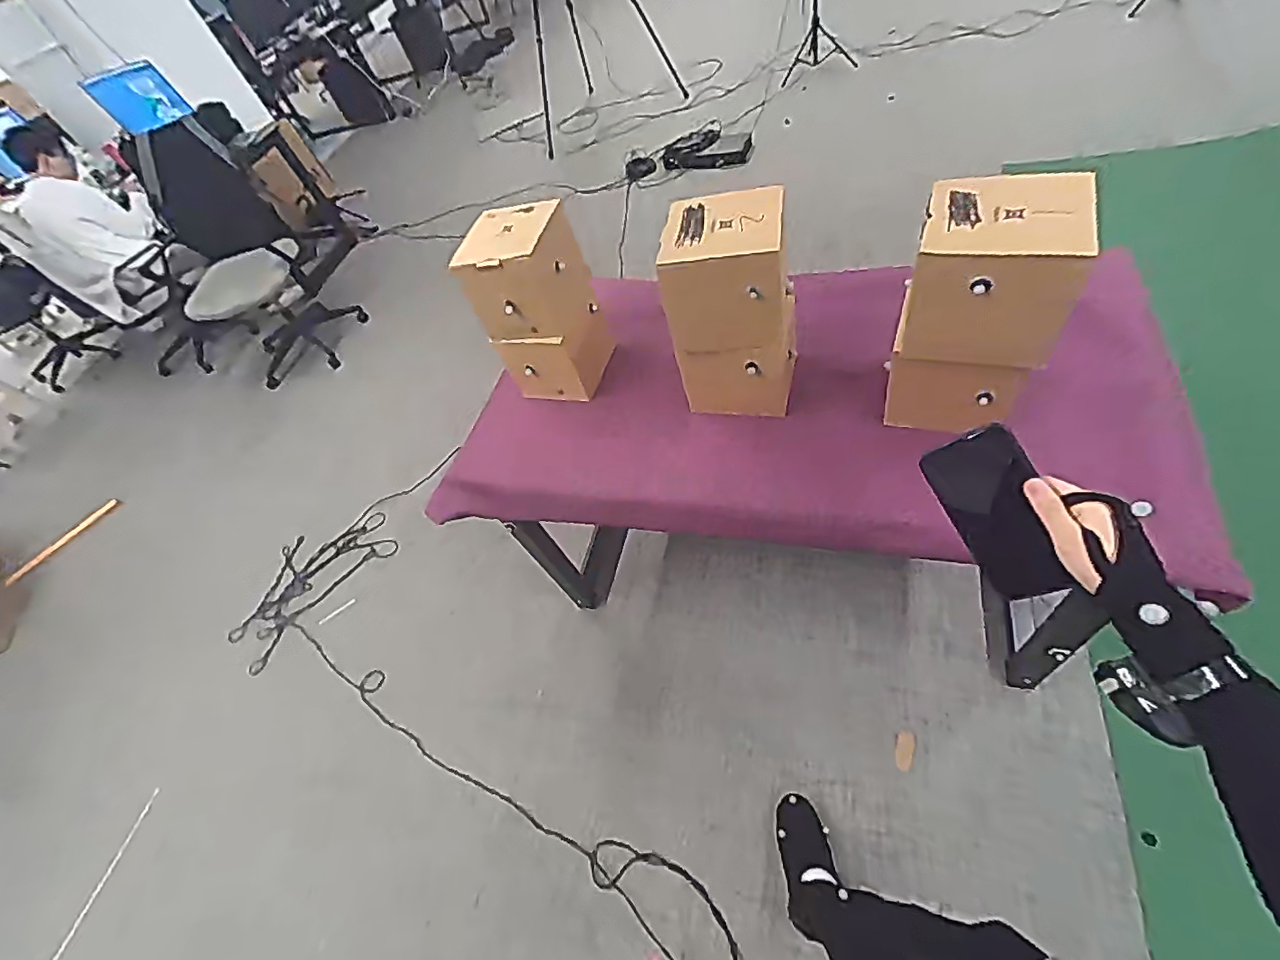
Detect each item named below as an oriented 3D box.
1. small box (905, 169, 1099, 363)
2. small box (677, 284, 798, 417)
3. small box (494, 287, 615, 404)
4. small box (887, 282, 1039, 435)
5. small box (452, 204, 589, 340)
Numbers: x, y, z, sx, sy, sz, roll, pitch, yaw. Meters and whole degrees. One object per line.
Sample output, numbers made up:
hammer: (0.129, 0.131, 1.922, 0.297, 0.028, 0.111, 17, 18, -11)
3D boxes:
small box: (0.454, -0.270, 0.700, 0.179, 0.176, 0.168, 11, 59, 25)
small box: (0.185, -0.229, 0.973, 0.179, 0.176, 0.168, 5, 57, 22)
small box: (-0.168, -0.276, 1.134, 0.168, 0.176, 0.179, 6, 57, 23)
small box: (0.495, -0.189, 0.837, 0.179, 0.176, 0.168, 10, 59, 27)
small box: (-0.211, -0.378, 1.011, 0.168, 0.176, 0.179, 1, 56, 19)
